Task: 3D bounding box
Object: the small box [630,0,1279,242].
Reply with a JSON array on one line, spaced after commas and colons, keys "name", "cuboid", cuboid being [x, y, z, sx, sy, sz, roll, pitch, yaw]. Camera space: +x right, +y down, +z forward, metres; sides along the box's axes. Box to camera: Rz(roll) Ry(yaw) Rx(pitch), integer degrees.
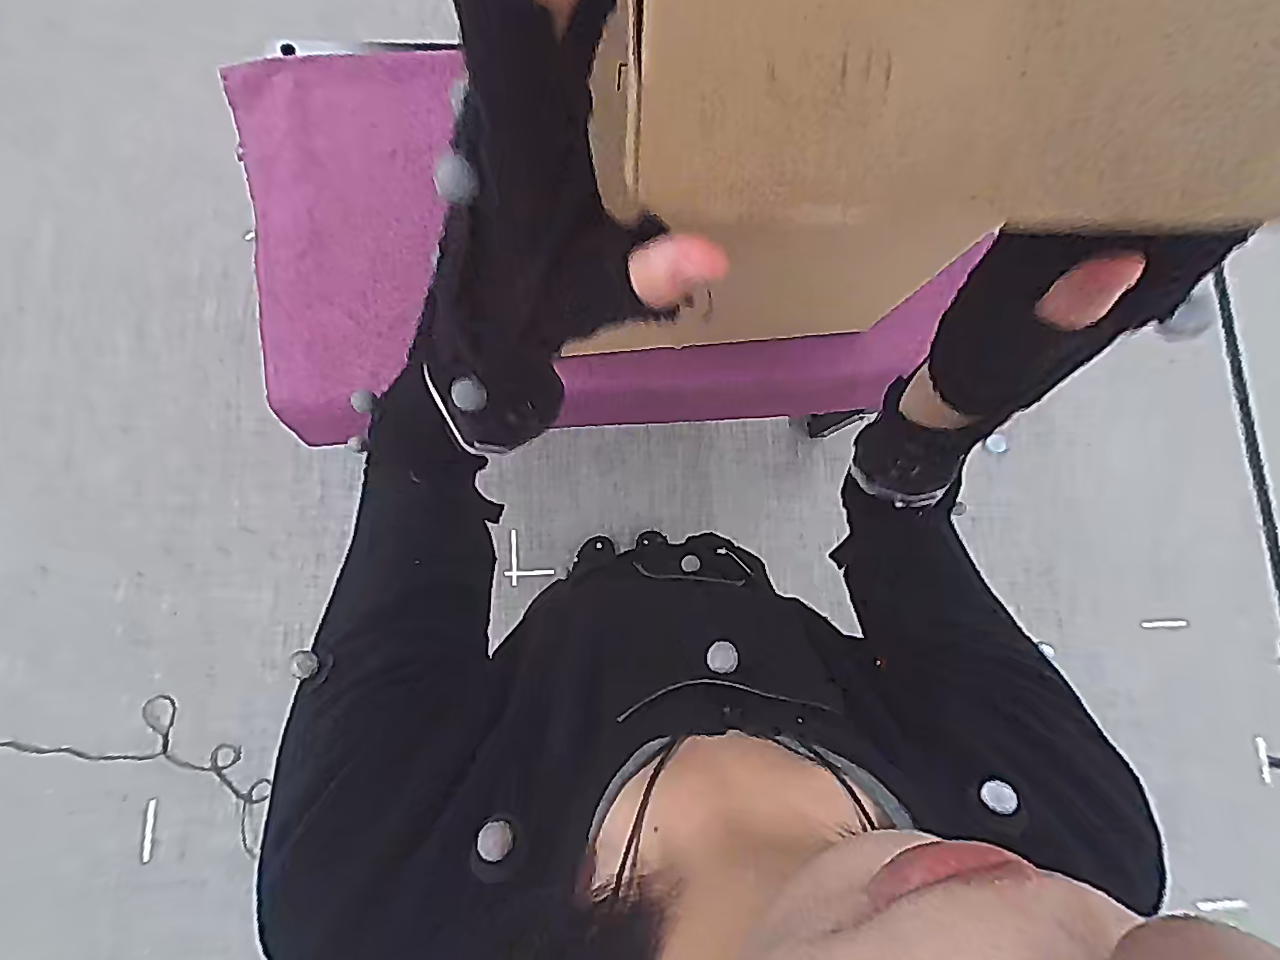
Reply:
[{"name": "small box", "cuboid": [0.092, -0.172, 0.092, 0.179, 0.168, 0.176, 2, 67, -2]}]
